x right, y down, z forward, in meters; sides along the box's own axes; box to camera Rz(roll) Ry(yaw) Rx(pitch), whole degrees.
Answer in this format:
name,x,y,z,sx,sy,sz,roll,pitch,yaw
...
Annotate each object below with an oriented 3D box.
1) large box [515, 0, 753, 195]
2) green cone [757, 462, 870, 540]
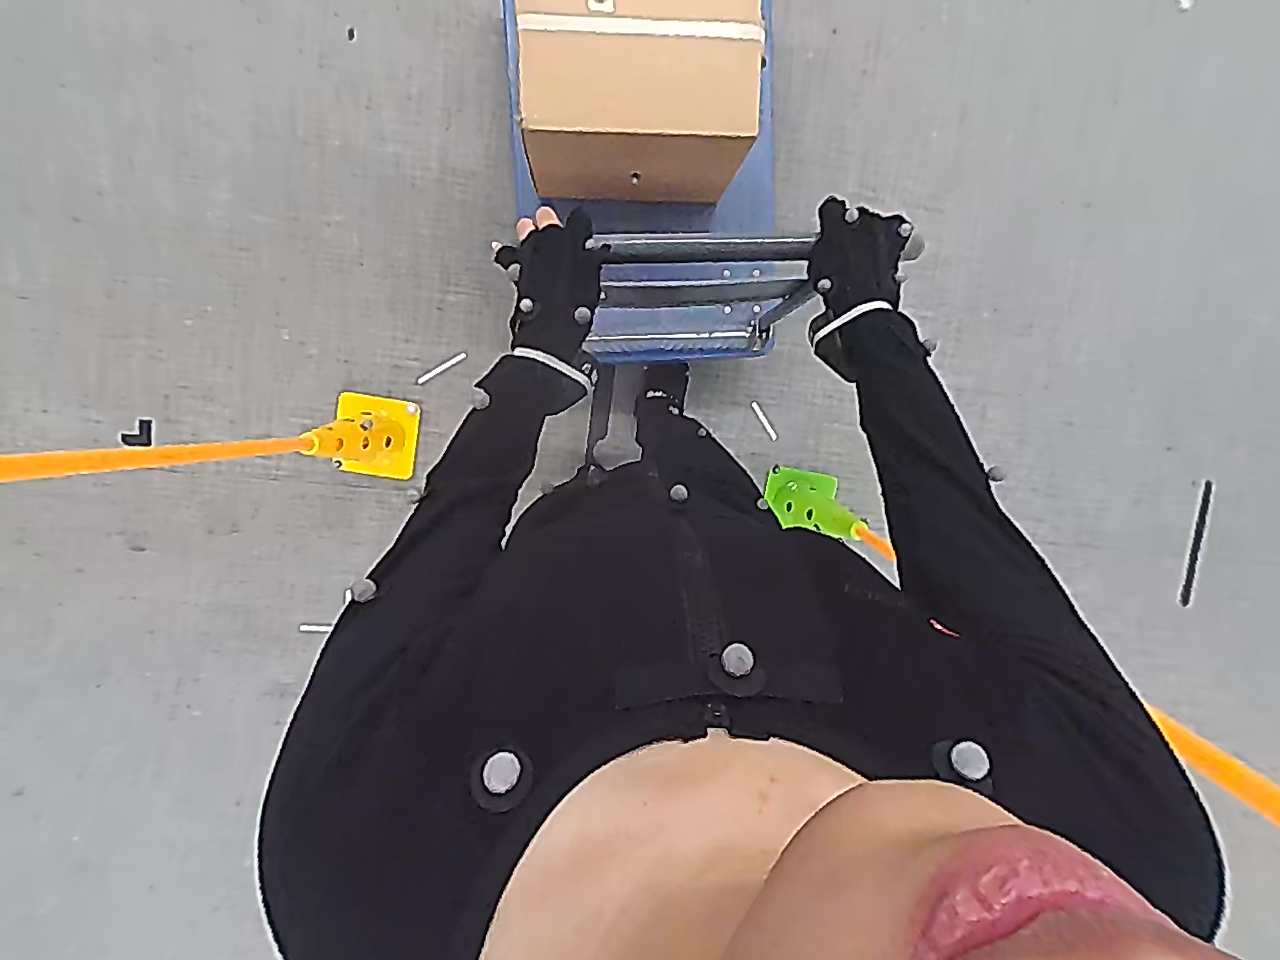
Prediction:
name,x,y,z,sx,sy,sz,roll,pitch,yaw
large box,-0.015,-0.766,1.046,0.408,0.320,0.320,-1,98,-4
green cone,0.454,0.081,1.340,0.202,0.368,0.200,10,96,-8
